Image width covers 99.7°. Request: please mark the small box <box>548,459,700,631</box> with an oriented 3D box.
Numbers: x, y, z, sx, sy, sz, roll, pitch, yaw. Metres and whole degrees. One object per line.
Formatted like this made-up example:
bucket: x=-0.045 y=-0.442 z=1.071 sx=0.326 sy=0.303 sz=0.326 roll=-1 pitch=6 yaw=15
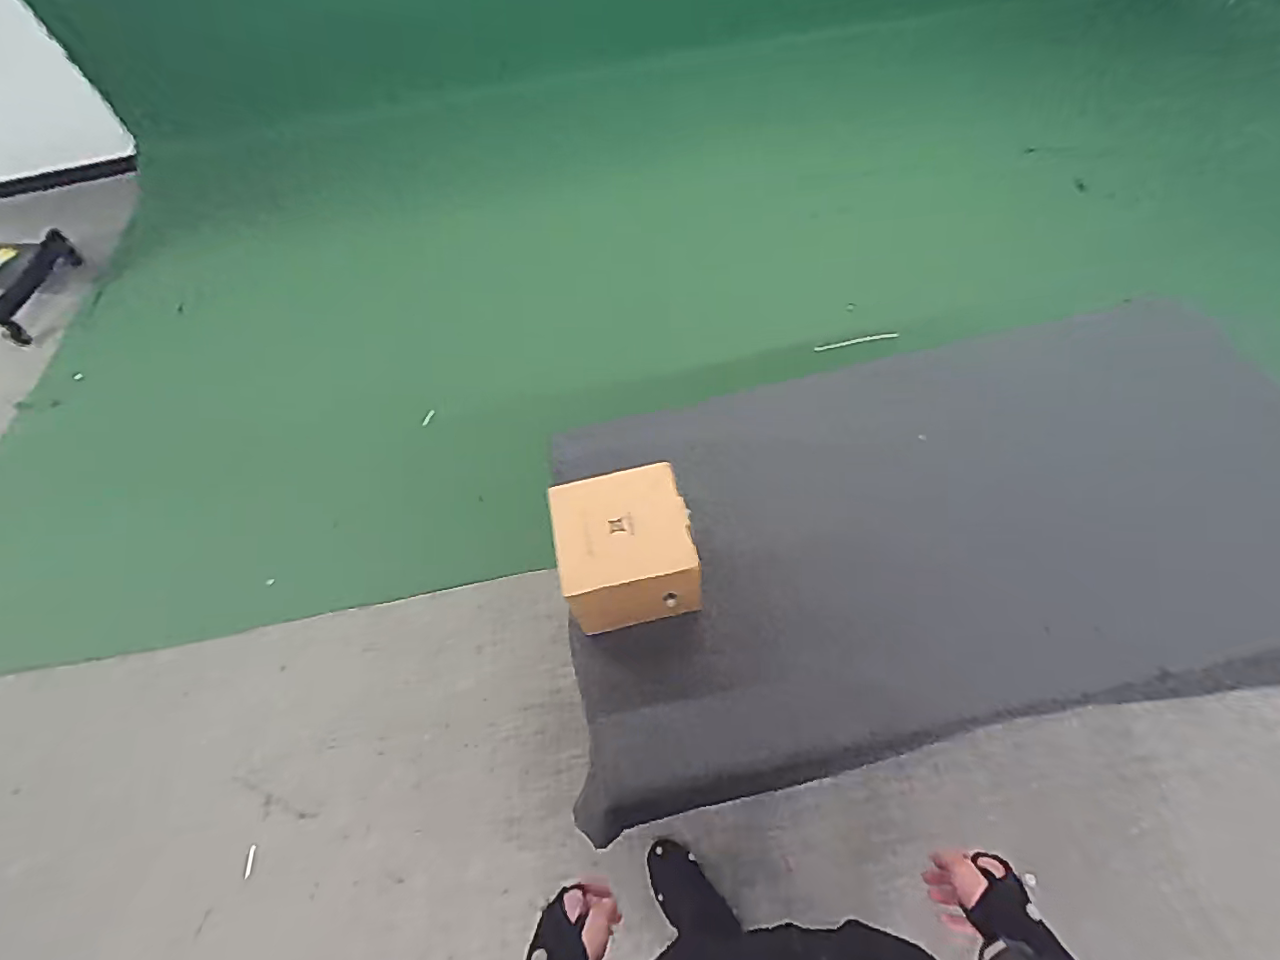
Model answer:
small box: x=-0.021 y=0.097 z=0.764 sx=0.179 sy=0.176 sz=0.168 roll=-13 pitch=57 yaw=-2
